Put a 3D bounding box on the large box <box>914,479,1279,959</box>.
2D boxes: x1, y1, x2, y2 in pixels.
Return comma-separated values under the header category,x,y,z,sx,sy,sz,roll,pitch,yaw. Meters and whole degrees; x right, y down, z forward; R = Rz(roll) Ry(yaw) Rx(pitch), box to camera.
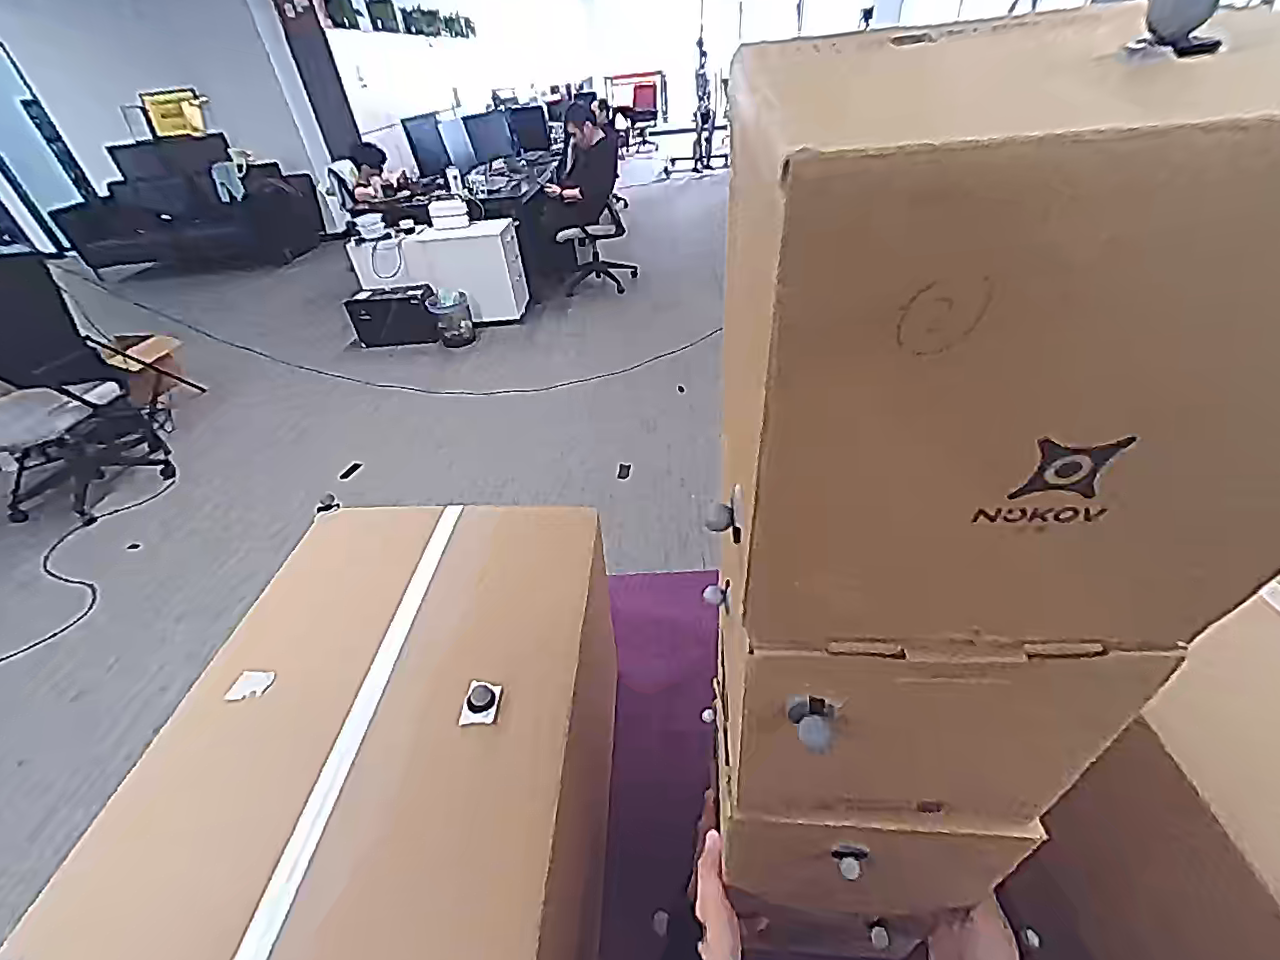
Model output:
category,x,y,z,sx,sy,sz,roll,pitch,yaw
large box,0.502,0.246,0.480,0.320,0.320,0.408,-2,37,4
